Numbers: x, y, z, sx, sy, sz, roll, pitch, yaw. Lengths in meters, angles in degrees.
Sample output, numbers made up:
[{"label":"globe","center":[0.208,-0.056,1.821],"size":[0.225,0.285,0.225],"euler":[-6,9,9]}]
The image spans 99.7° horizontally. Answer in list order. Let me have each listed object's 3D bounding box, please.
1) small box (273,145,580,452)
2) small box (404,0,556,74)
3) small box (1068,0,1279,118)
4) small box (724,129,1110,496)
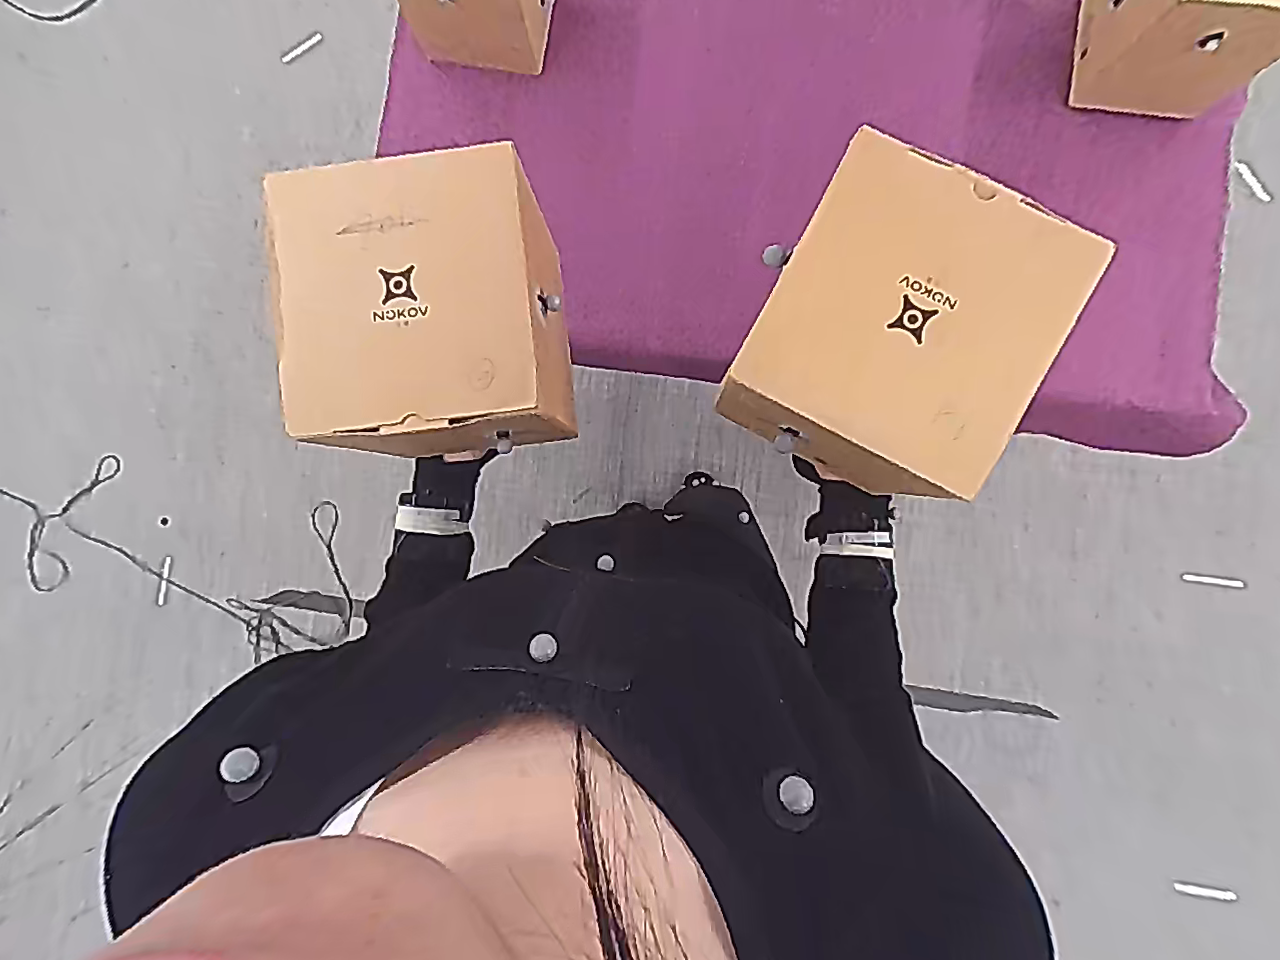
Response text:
[{"label":"small box","center":[-0.145,-0.118,0.426],"size":[0.168,0.176,0.179],"euler":[-7,87,1]},{"label":"small box","center":[-0.221,-0.695,0.730],"size":[0.179,0.176,0.168],"euler":[10,90,1]},{"label":"small box","center":[0.696,-0.600,0.689],"size":[0.179,0.176,0.168],"euler":[8,89,2]},{"label":"small box","center":[0.174,-0.101,0.406],"size":[0.168,0.176,0.179],"euler":[28,91,4]}]
